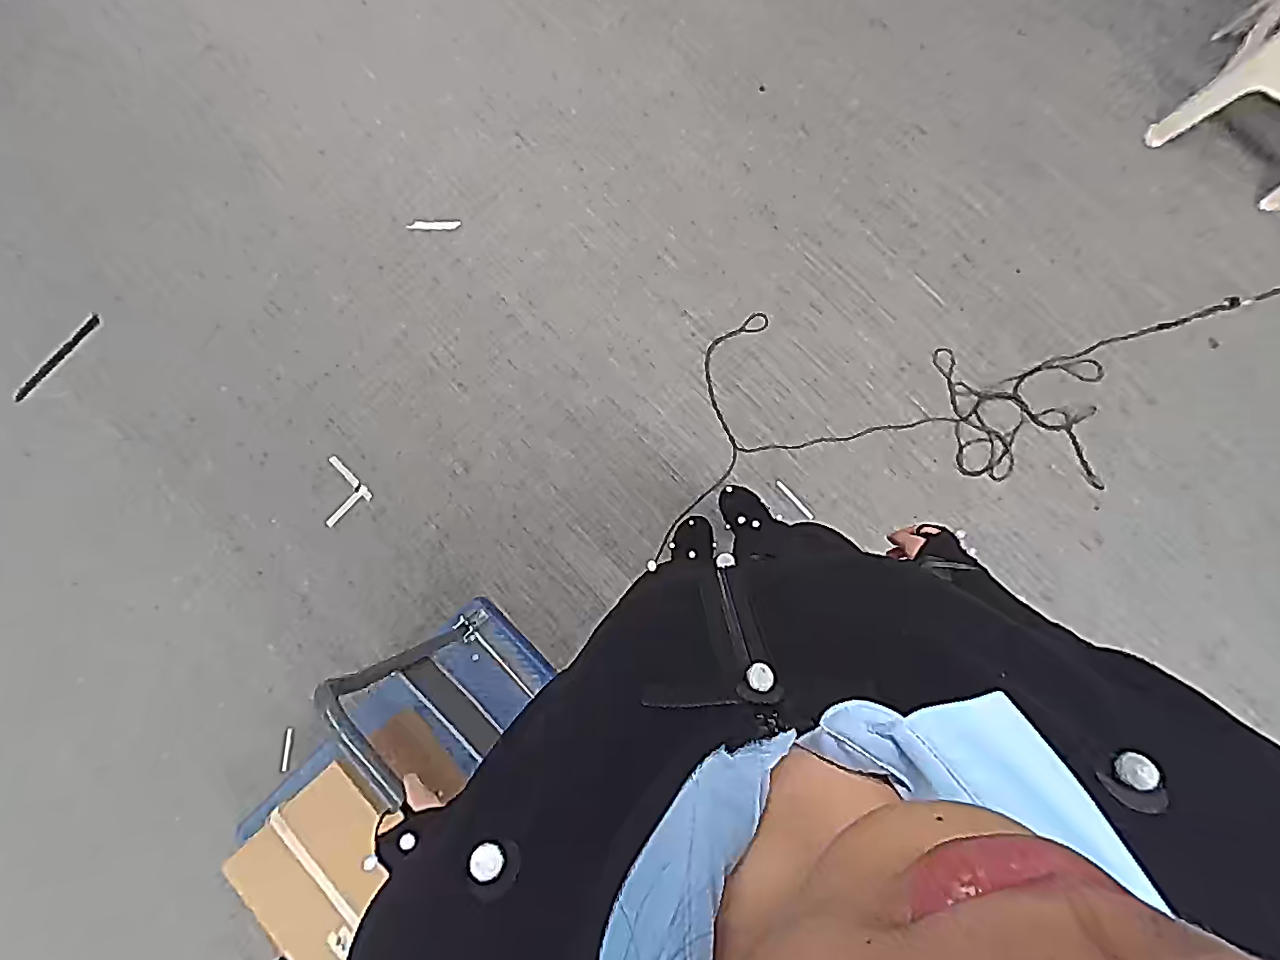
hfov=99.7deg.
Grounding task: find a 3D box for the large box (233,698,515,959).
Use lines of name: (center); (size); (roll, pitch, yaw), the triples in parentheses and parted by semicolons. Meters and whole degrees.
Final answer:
large box: (-0.554, 0.779, 1.198); (0.320, 0.320, 0.408); (-43, 85, 1)
